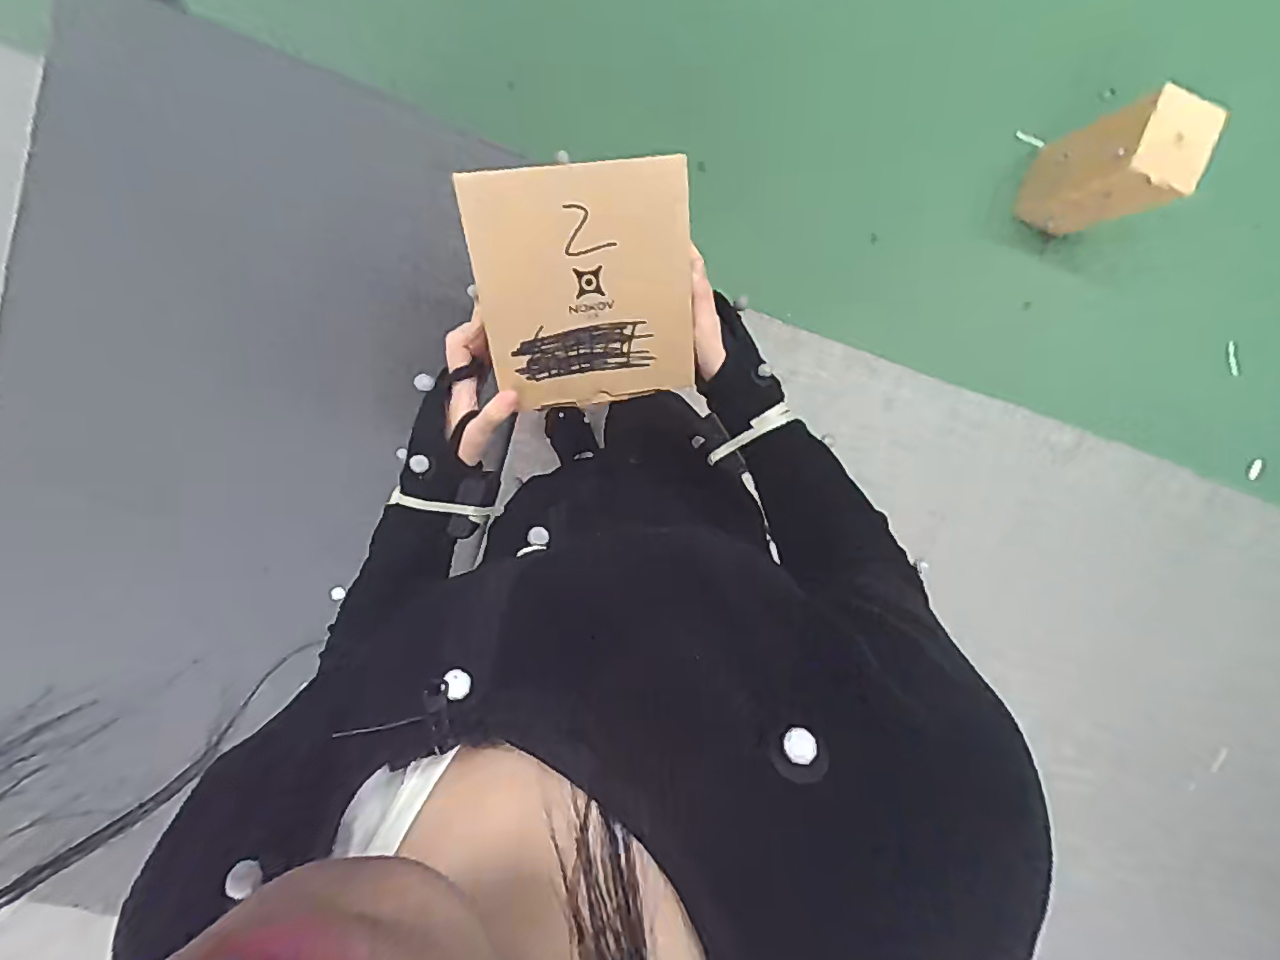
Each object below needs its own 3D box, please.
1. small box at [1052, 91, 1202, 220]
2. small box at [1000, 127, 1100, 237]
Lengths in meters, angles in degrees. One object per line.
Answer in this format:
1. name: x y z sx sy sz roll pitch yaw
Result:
1. small box: 1.110 -0.737 1.248 0.168 0.176 0.179 16 97 -10
2. small box: 1.089 -0.764 1.407 0.168 0.176 0.179 18 97 -9
